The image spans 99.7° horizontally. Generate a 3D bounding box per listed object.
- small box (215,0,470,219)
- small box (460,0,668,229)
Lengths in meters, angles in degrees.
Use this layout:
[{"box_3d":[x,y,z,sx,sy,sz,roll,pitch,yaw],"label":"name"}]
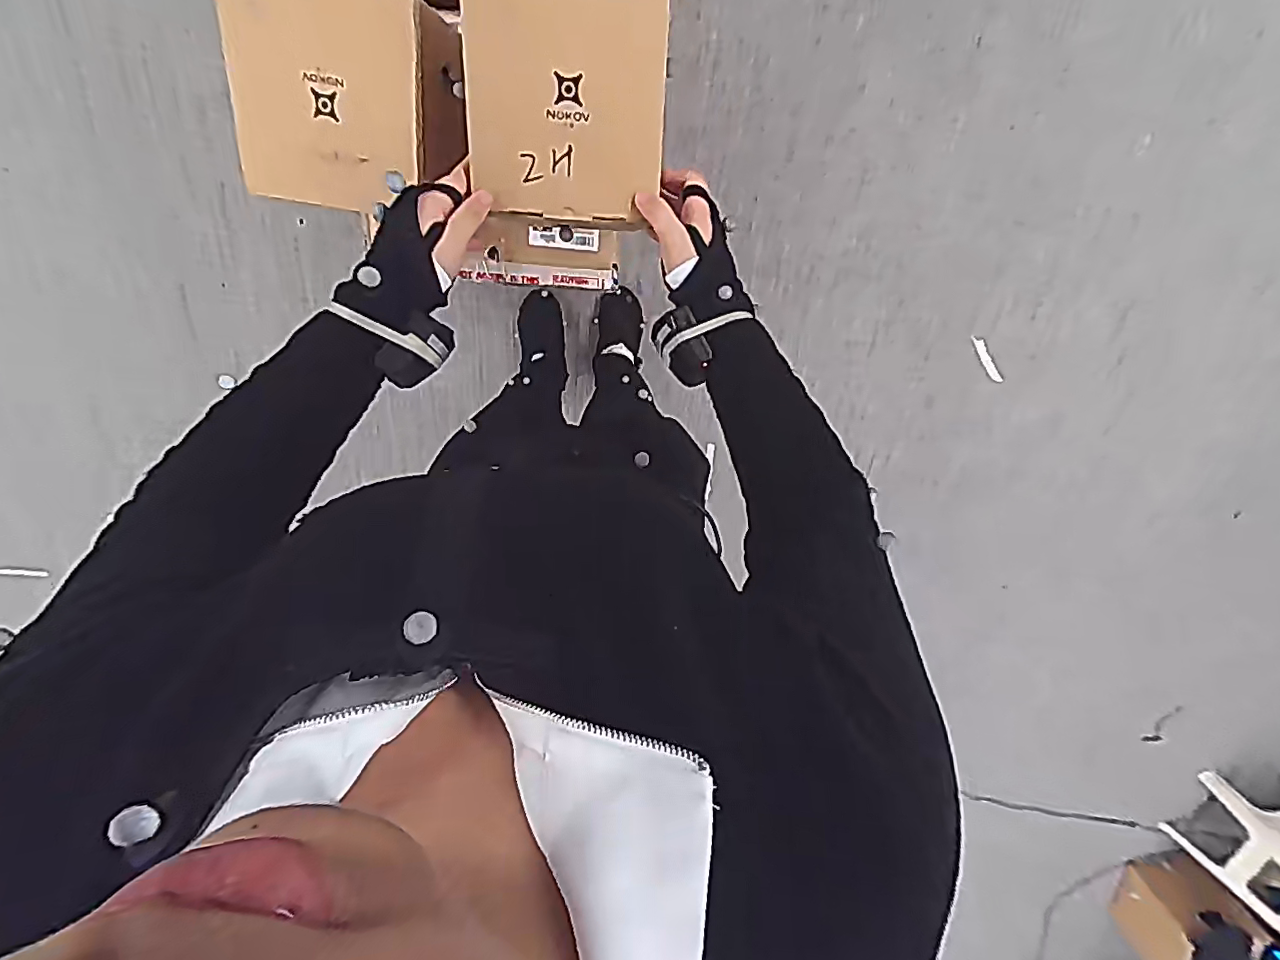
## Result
[{"box_3d":[-0.275,-0.373,0.545,0.168,0.176,0.179,8,118,-2],"label":"small box"},{"box_3d":[-0.072,-0.346,0.520,0.168,0.176,0.179,0,112,-7],"label":"small box"}]
